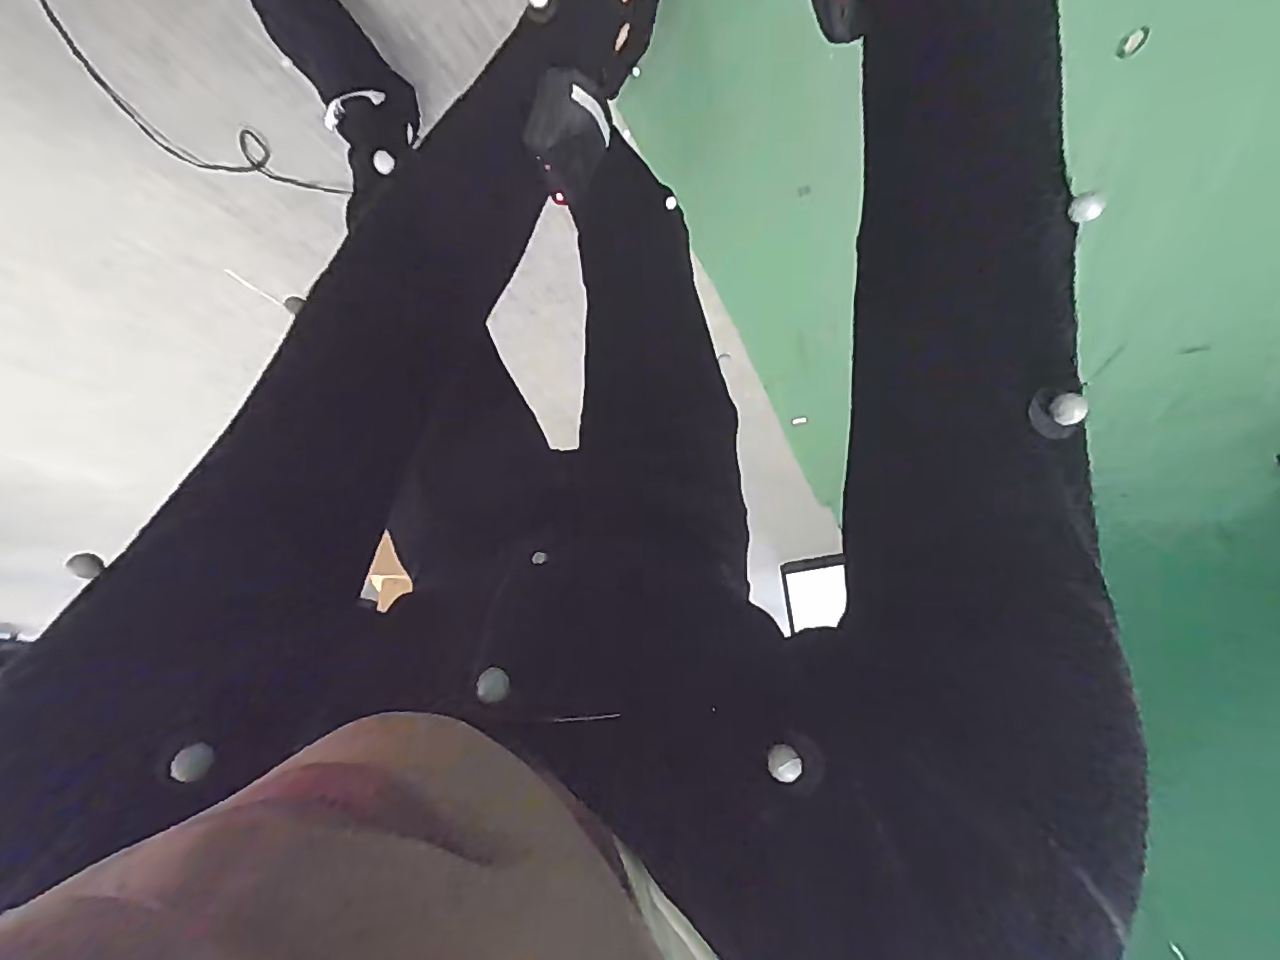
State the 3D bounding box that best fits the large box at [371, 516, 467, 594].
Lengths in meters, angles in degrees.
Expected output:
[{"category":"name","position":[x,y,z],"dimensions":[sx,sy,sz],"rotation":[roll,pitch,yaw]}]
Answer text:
[{"category":"large box","position":[-1.099,0.388,2.731],"dimensions":[0.408,0.320,0.320],"rotation":[4,154,-17]}]
